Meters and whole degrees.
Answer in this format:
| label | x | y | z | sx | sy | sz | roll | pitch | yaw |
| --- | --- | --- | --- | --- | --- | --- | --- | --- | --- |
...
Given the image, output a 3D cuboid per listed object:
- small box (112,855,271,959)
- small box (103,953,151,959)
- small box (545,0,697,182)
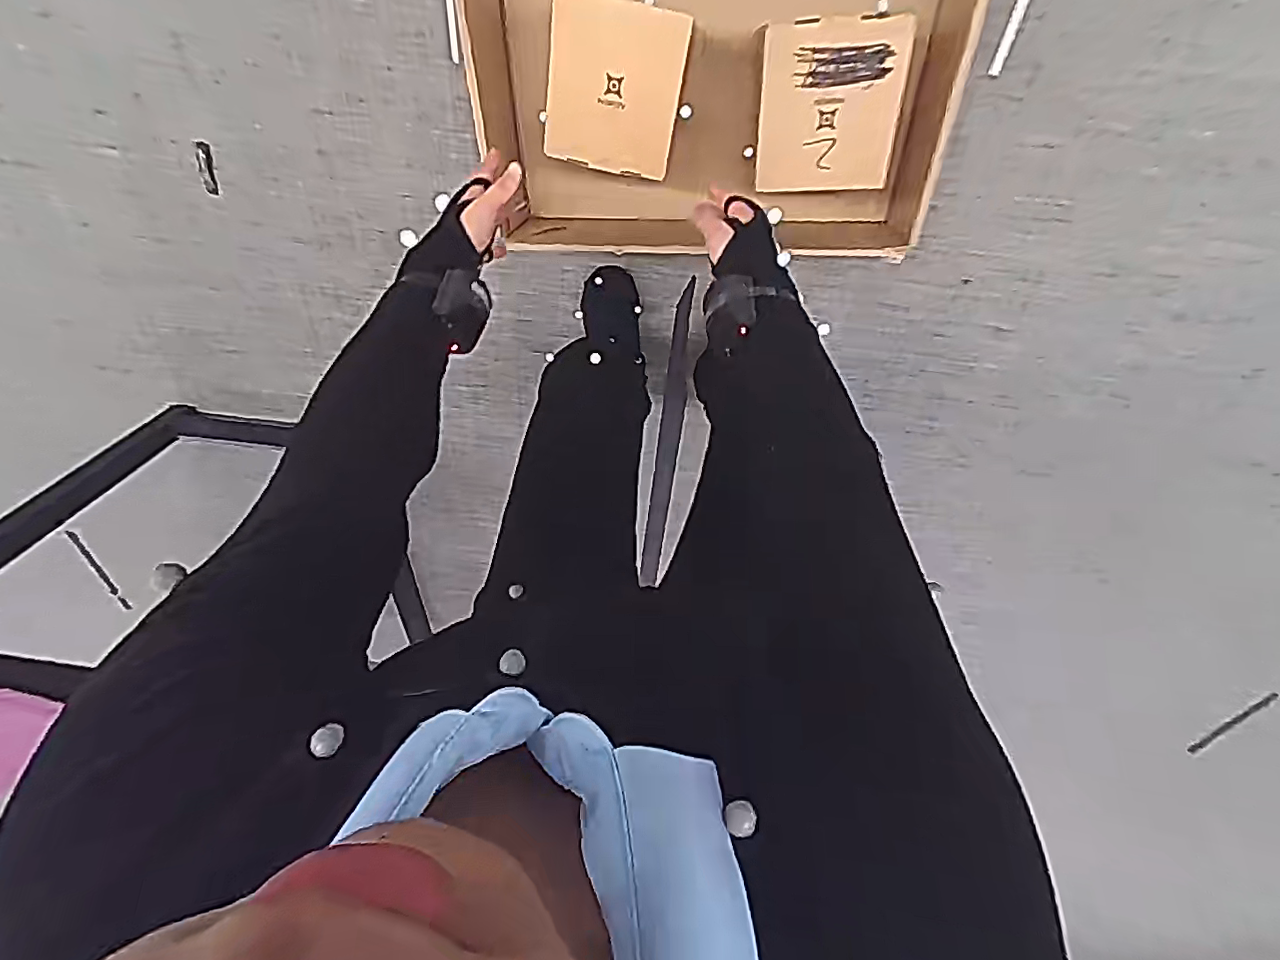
| label | x | y | z | sx | sy | sz | roll | pitch | yaw |
| --- | --- | --- | --- | --- | --- | --- | --- | --- | --- |
| small box | -0.946 | 0.937 | 1.162 | 0.168 | 0.176 | 0.179 | 8 | 129 | 3 |
| small box | -0.973 | 1.038 | 1.034 | 0.179 | 0.176 | 0.168 | 7 | 129 | 4 |
| small box | -0.024 | -0.527 | 0.727 | 0.168 | 0.176 | 0.179 | 11 | 129 | -2 |
